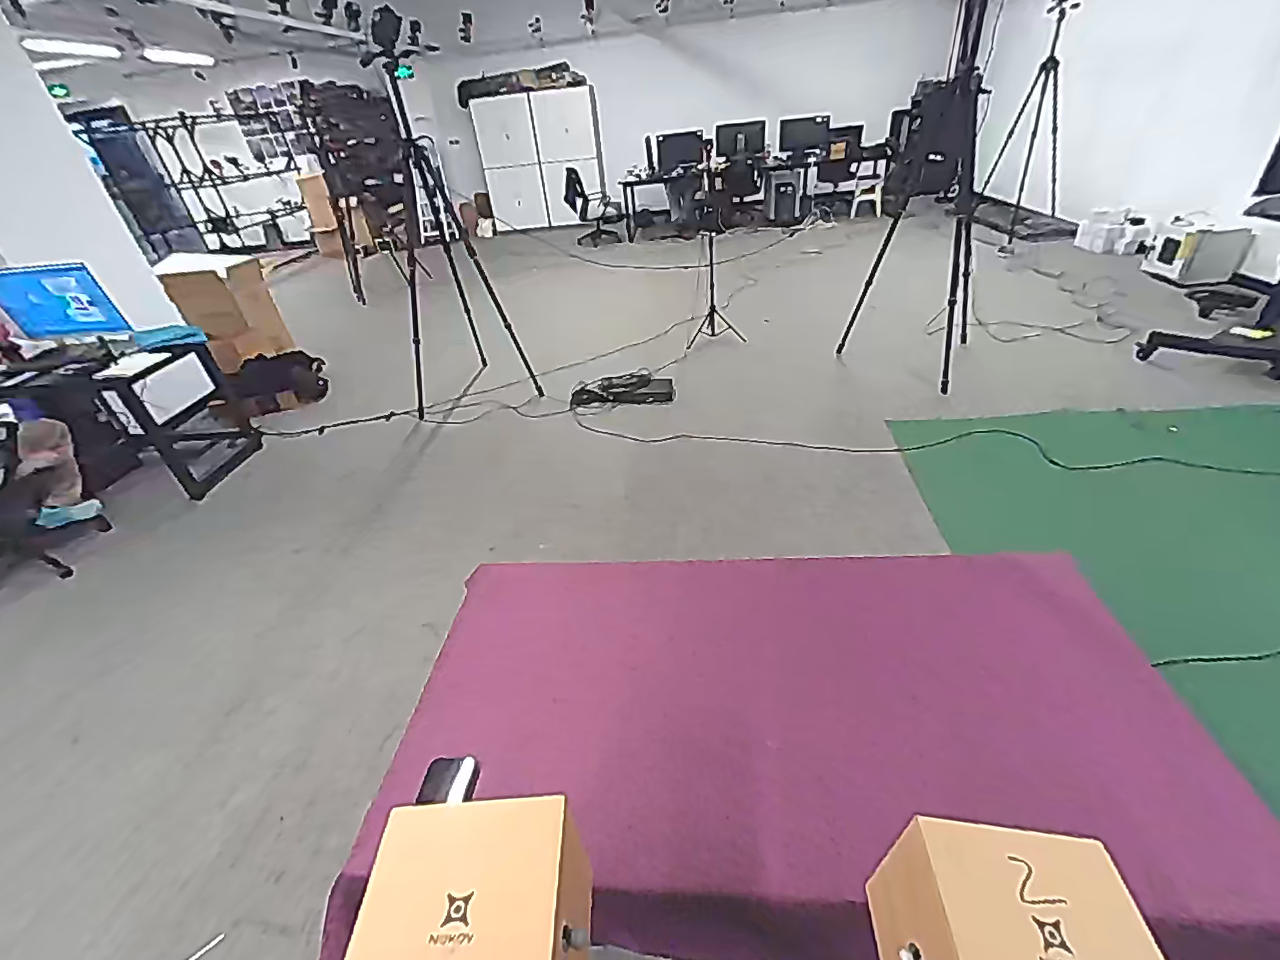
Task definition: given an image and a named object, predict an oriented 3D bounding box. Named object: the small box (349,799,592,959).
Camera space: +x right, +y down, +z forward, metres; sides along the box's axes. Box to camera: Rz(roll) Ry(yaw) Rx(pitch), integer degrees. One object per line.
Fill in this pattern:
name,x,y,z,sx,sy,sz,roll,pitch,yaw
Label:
small box,-0.136,0.414,0.478,0.168,0.176,0.179,-5,37,2
